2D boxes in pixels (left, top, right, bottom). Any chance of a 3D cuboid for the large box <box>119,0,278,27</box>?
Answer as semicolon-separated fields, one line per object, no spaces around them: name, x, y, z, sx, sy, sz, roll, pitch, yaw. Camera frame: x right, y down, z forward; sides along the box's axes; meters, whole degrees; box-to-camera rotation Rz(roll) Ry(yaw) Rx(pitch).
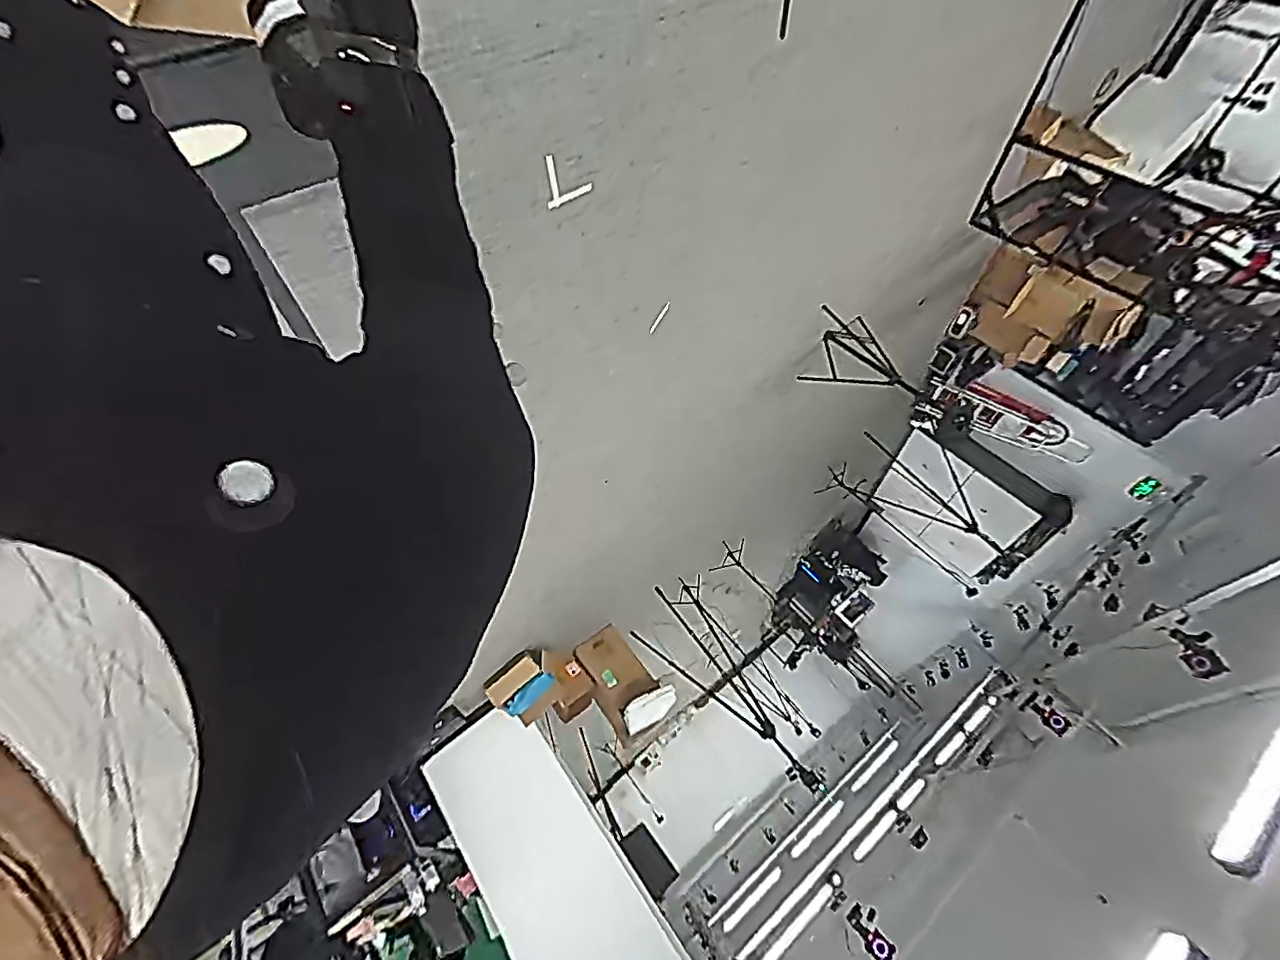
large box;-0.378;-0.542;0.269;0.408;0.320;0.320;28;114;-37
